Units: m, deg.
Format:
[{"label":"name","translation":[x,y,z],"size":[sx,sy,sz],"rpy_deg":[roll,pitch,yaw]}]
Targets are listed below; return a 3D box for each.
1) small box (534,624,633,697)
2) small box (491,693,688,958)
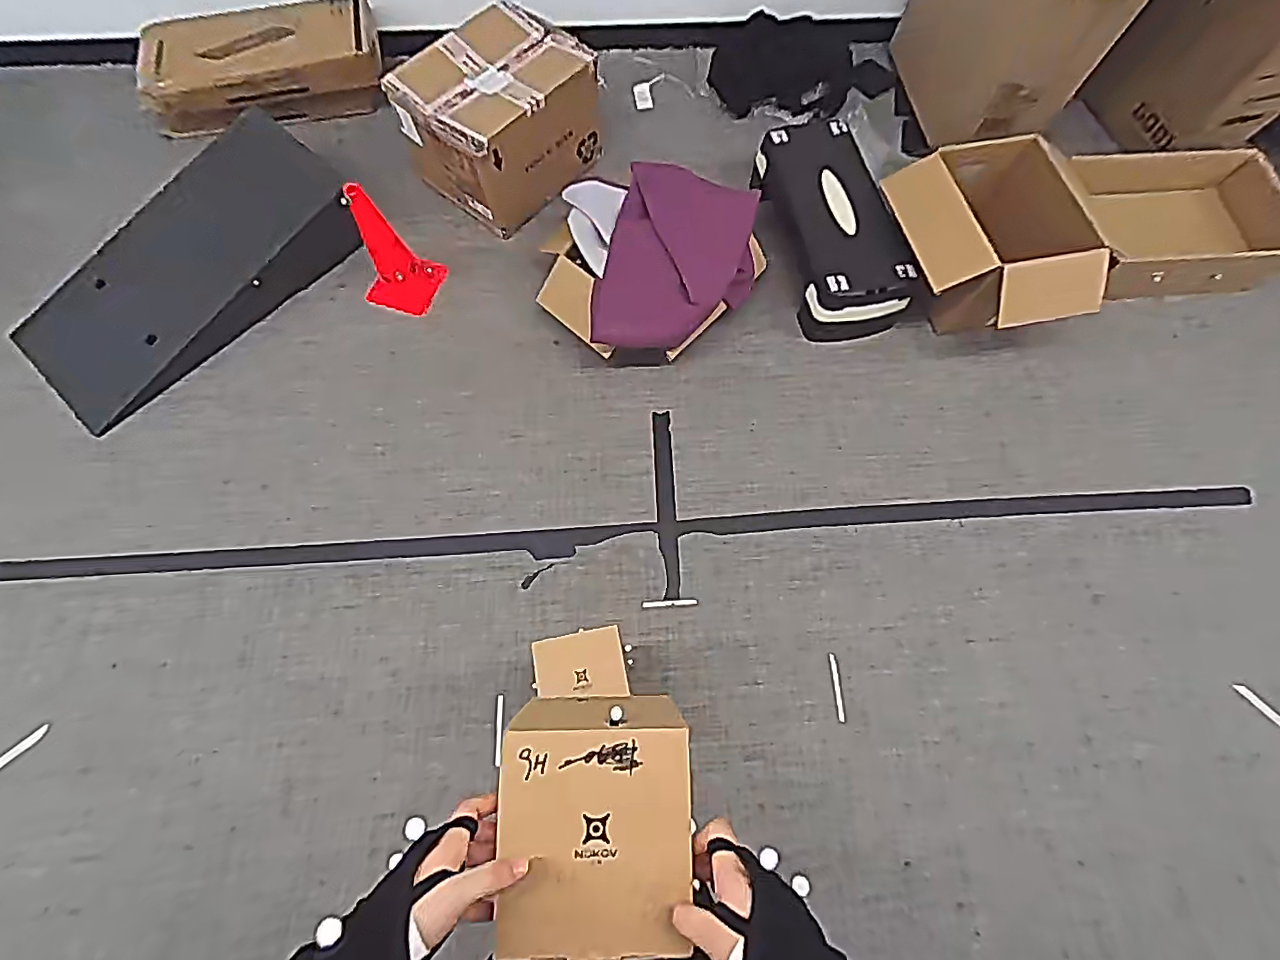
[{"label":"small box","translation":[-0.103,0.392,1.056],"size":[0.168,0.176,0.179],"rpy_deg":[-11,70,-3]},{"label":"small box","translation":[-0.042,0.319,0.535],"size":[0.168,0.176,0.179],"rpy_deg":[0,78,-2]}]
